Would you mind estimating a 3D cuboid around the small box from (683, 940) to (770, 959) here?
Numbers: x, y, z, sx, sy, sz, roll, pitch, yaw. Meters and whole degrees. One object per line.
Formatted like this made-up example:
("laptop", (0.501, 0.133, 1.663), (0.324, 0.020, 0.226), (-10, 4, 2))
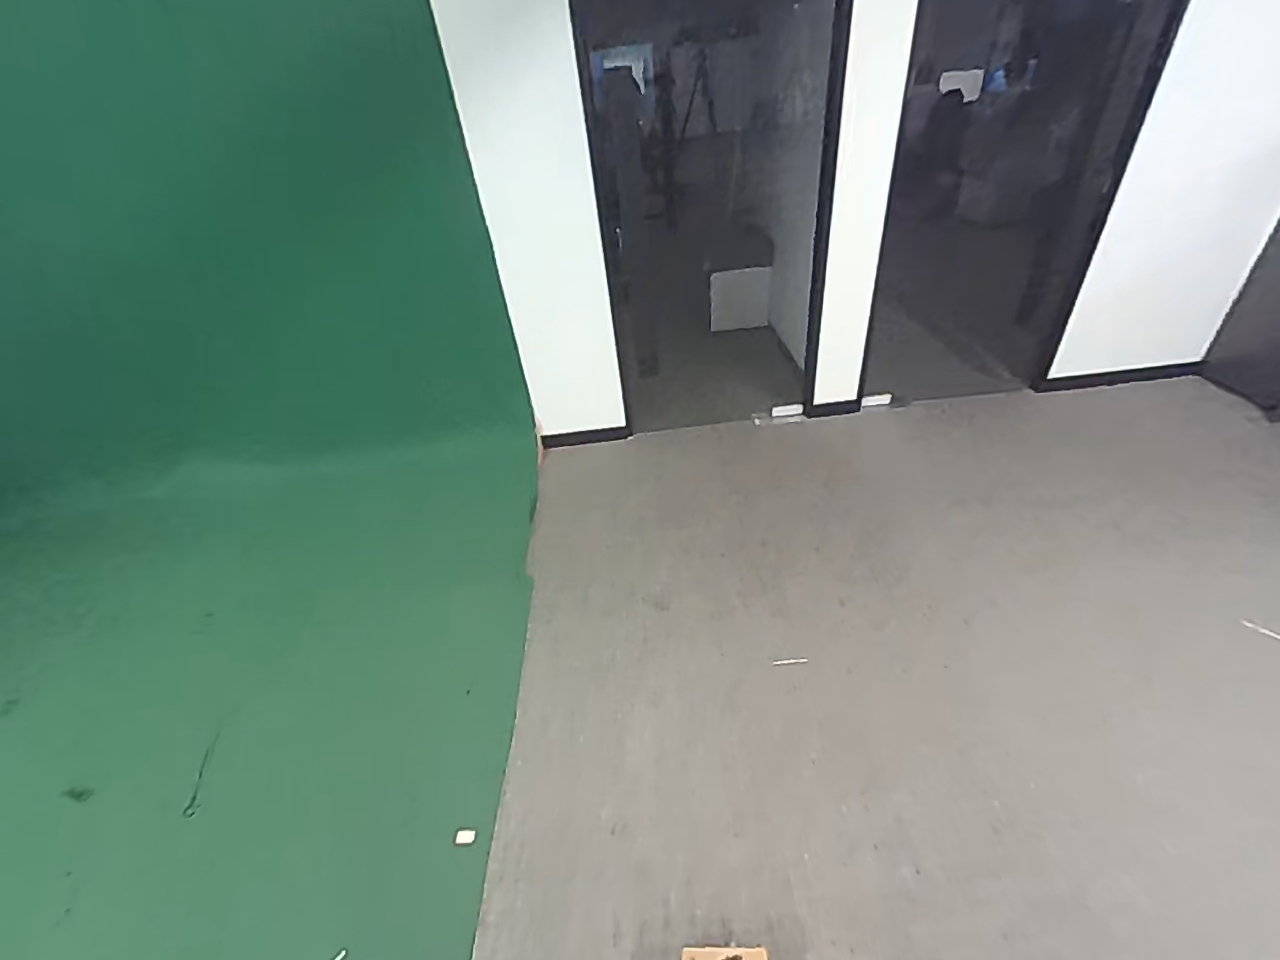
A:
("small box", (0.171, 1.009, 1.028), (0.168, 0.176, 0.179), (-4, 38, 6))
